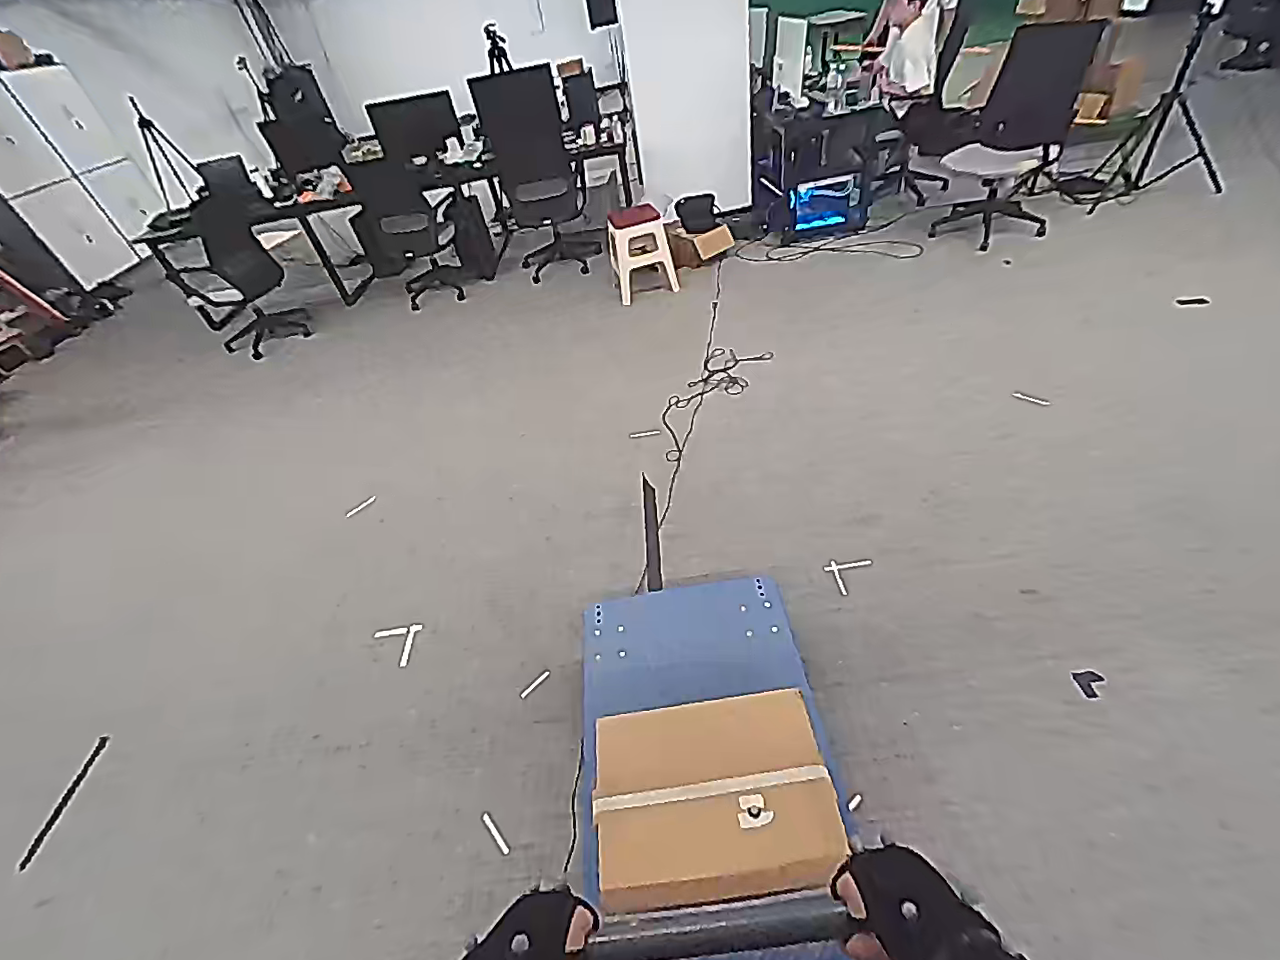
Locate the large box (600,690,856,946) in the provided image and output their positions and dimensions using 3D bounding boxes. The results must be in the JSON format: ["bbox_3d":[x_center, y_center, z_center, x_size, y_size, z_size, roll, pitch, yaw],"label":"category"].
[{"bbox_3d":[0.151,0.657,1.053,0.408,0.320,0.320,-10,42,2],"label":"large box"}]
